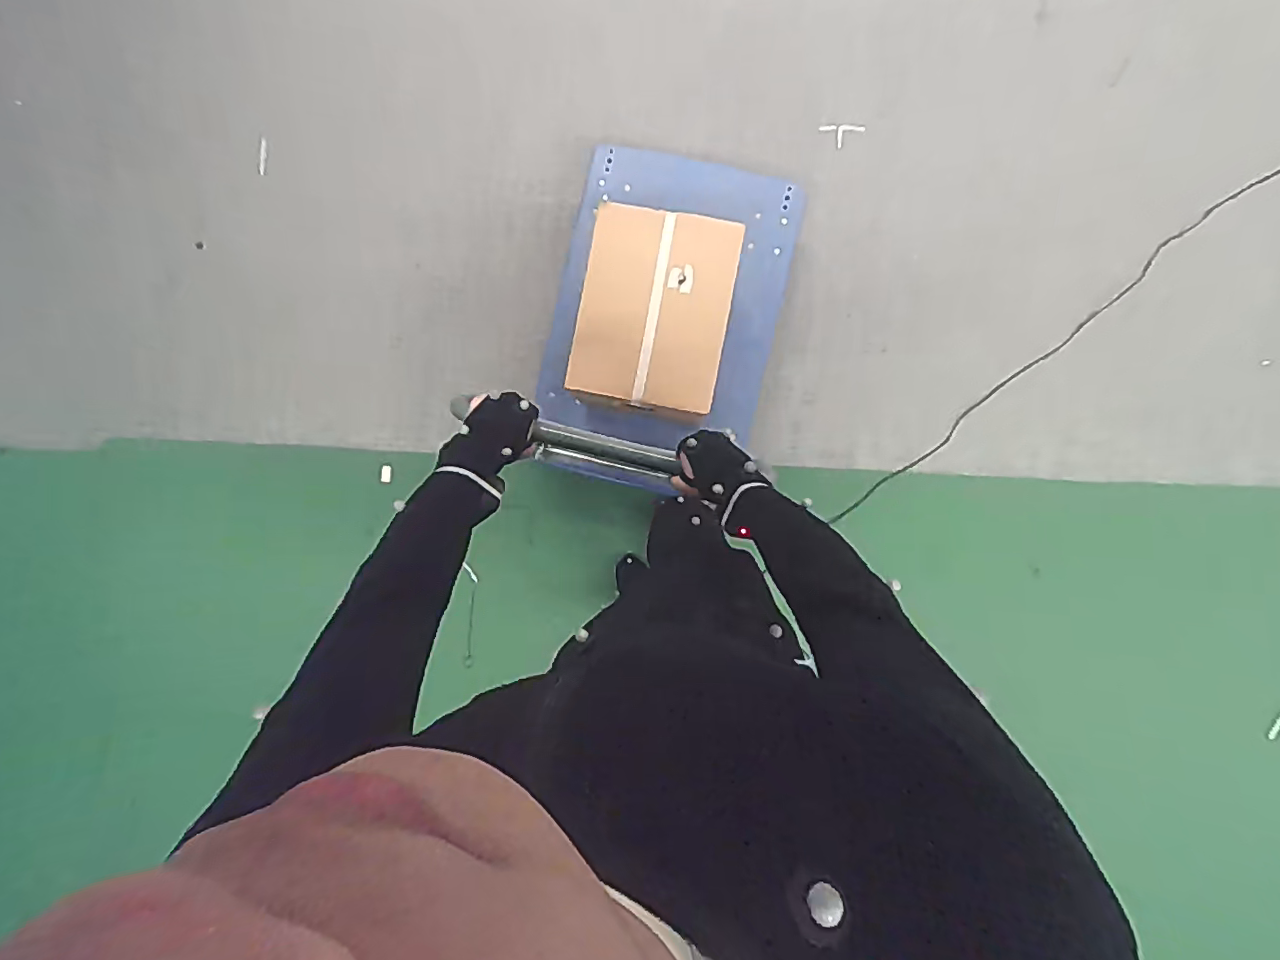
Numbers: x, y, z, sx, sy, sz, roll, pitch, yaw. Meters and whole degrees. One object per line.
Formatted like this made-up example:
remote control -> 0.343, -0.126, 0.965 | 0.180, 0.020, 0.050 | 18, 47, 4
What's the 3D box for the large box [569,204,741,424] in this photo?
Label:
large box -> 0.039, -0.367, 1.294 | 0.320, 0.320, 0.408 | 11, 91, 3
